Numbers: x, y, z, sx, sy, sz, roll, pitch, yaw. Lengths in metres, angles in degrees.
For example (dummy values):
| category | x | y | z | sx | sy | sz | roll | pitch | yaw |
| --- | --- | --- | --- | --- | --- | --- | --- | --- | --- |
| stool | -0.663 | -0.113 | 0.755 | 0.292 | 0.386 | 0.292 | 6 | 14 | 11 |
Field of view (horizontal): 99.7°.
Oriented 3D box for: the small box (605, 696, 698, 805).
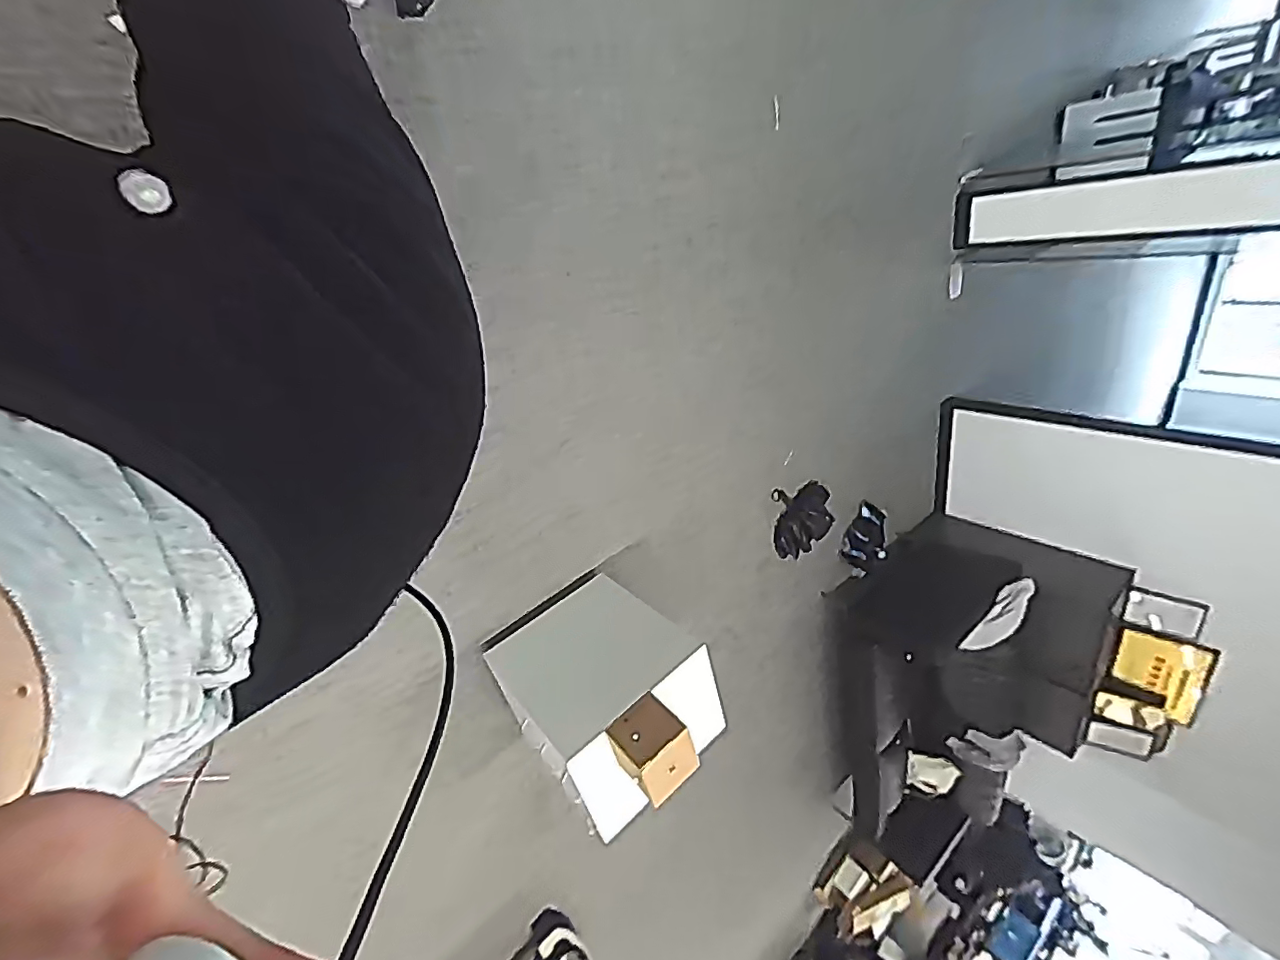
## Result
| category | x | y | z | sx | sy | sz | roll | pitch | yaw |
| --- | --- | --- | --- | --- | --- | --- | --- | --- | --- |
| small box | 0.028 | 0.715 | 1.454 | 0.168 | 0.176 | 0.179 | -33 | 125 | -25 |
